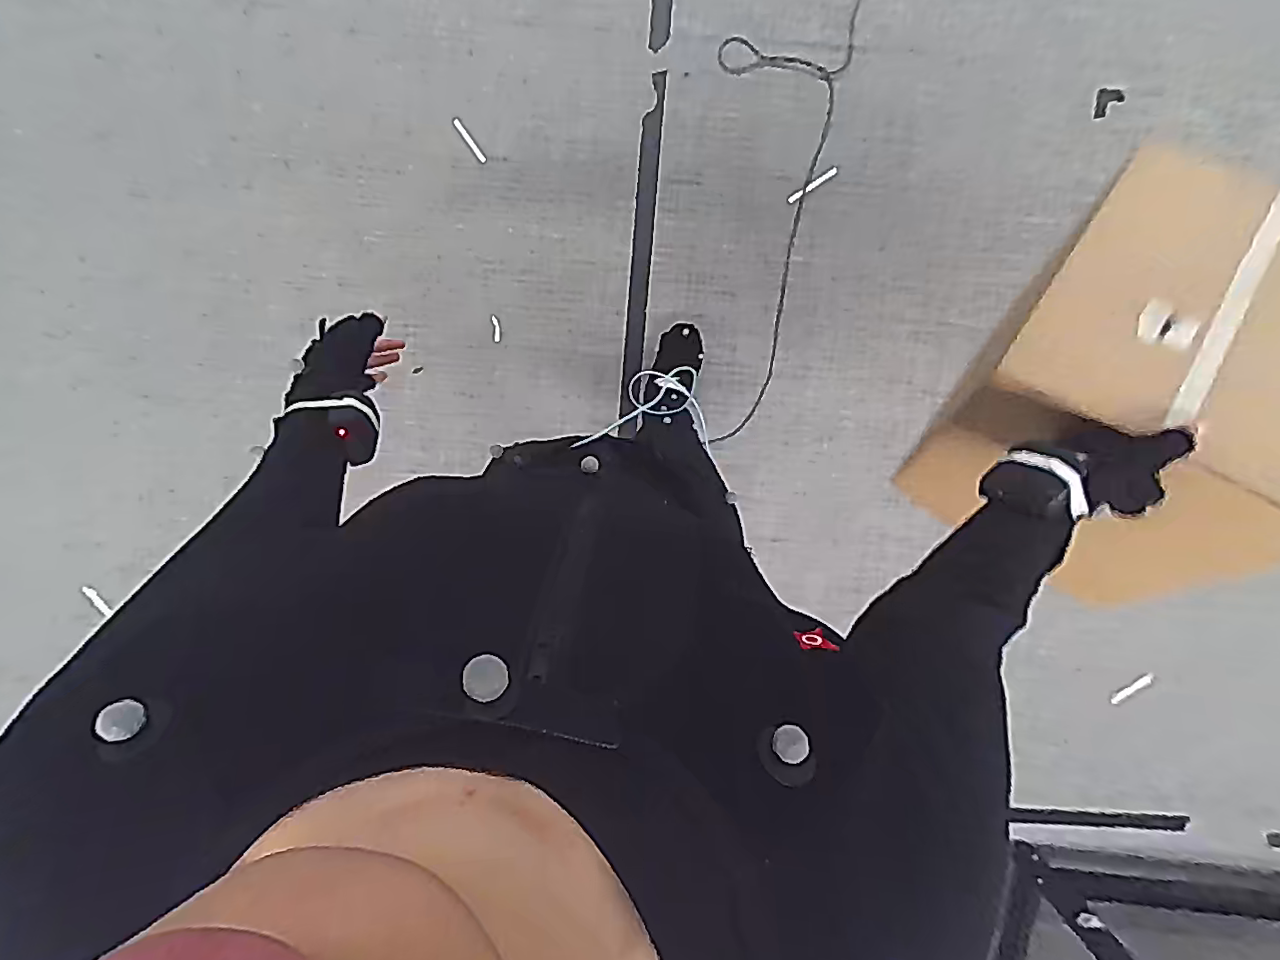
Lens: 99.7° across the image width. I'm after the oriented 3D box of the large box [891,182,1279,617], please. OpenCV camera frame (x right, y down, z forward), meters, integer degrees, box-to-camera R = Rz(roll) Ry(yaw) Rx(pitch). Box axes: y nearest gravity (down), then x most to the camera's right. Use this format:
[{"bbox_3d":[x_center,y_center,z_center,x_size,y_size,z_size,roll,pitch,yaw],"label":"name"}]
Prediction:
[{"bbox_3d":[0.612,-0.094,0.716,0.320,0.320,0.408,34,72,20],"label":"large box"}]
